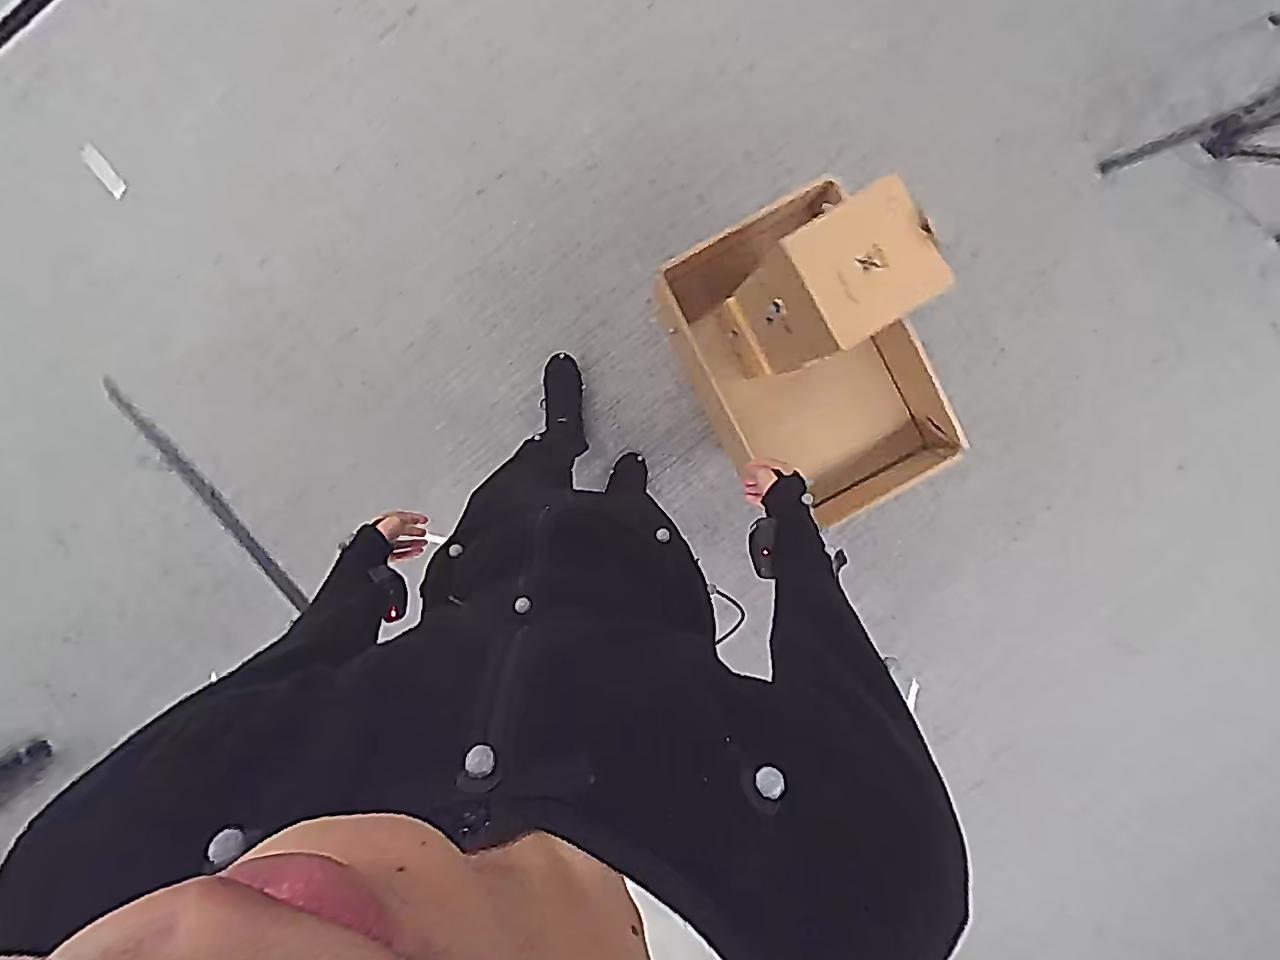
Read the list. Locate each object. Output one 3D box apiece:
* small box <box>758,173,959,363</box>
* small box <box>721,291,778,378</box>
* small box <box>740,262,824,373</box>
[{"bbox_3d":[0.294,-0.284,0.766,0.179,0.176,0.168,-30,96,1],"label":"small box"},{"bbox_3d":[0.277,-0.318,1.092,0.179,0.176,0.168,-30,97,1],"label":"small box"},{"bbox_3d":[0.292,-0.299,0.929,0.168,0.176,0.179,-28,98,1],"label":"small box"}]
